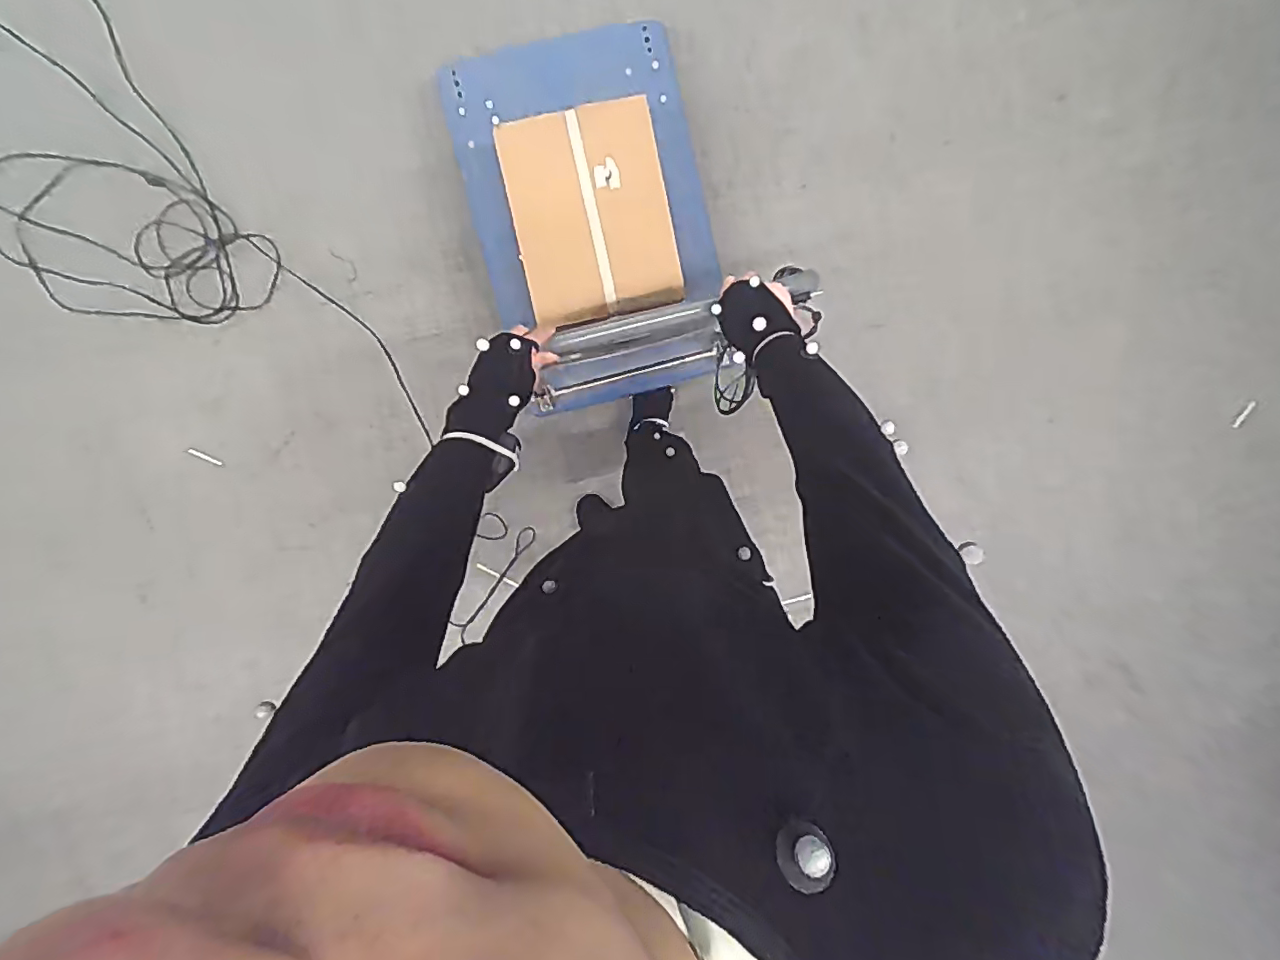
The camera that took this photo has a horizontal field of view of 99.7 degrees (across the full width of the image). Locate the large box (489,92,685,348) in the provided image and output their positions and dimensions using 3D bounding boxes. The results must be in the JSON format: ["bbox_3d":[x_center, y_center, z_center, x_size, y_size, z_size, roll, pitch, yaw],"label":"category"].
[{"bbox_3d":[-0.107,-0.545,1.215,0.320,0.320,0.408,-13,96,-3],"label":"large box"}]
